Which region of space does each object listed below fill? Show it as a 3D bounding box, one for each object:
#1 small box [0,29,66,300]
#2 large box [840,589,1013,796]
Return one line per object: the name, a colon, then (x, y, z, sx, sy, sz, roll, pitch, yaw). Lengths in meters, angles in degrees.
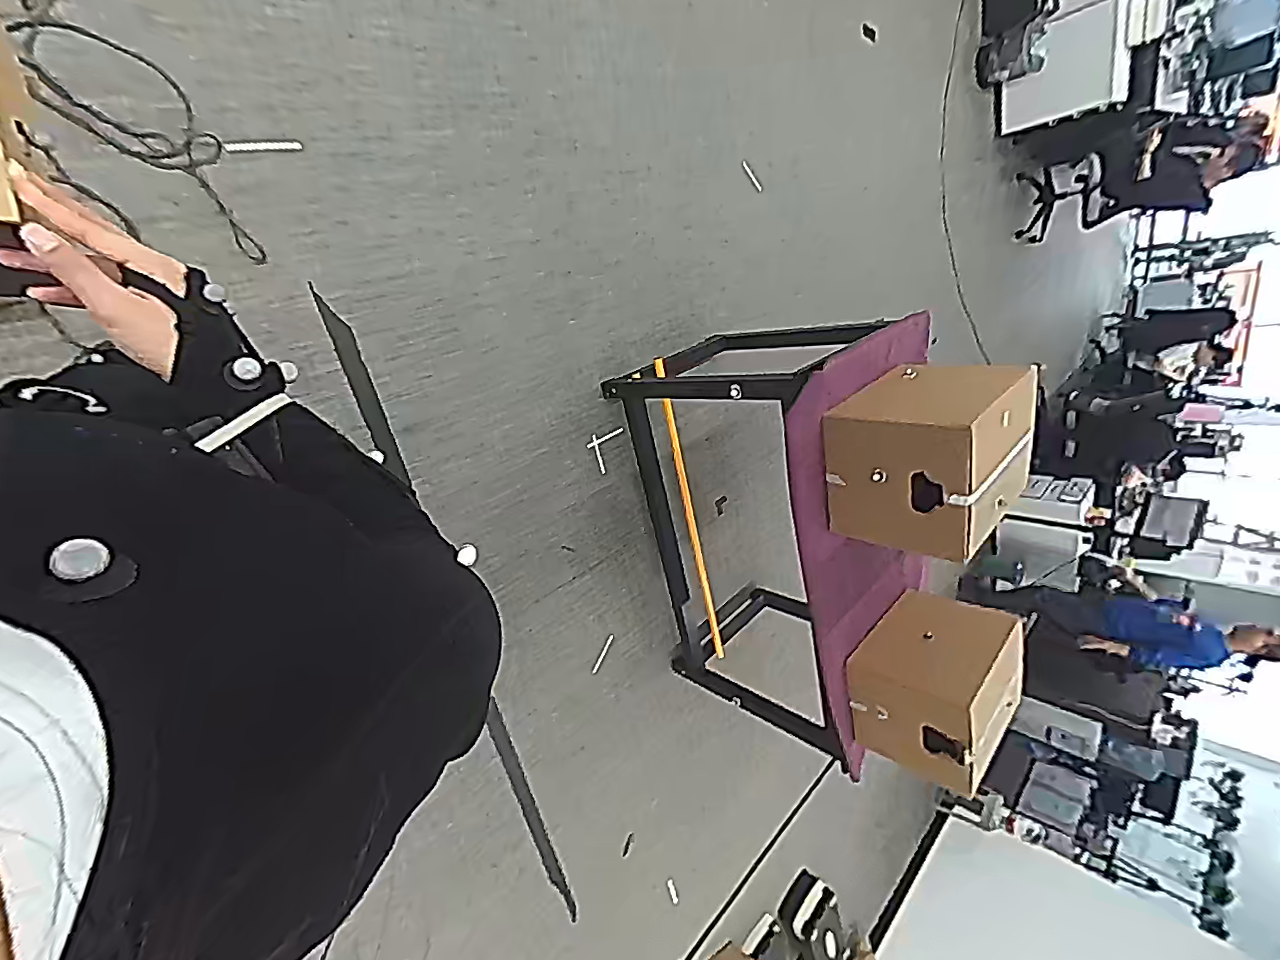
small box: (-0.469, -0.215, 0.304, 0.168, 0.176, 0.179, -12, 98, -38)
large box: (0.817, 0.571, 1.537, 0.408, 0.320, 0.320, -30, 117, -36)
